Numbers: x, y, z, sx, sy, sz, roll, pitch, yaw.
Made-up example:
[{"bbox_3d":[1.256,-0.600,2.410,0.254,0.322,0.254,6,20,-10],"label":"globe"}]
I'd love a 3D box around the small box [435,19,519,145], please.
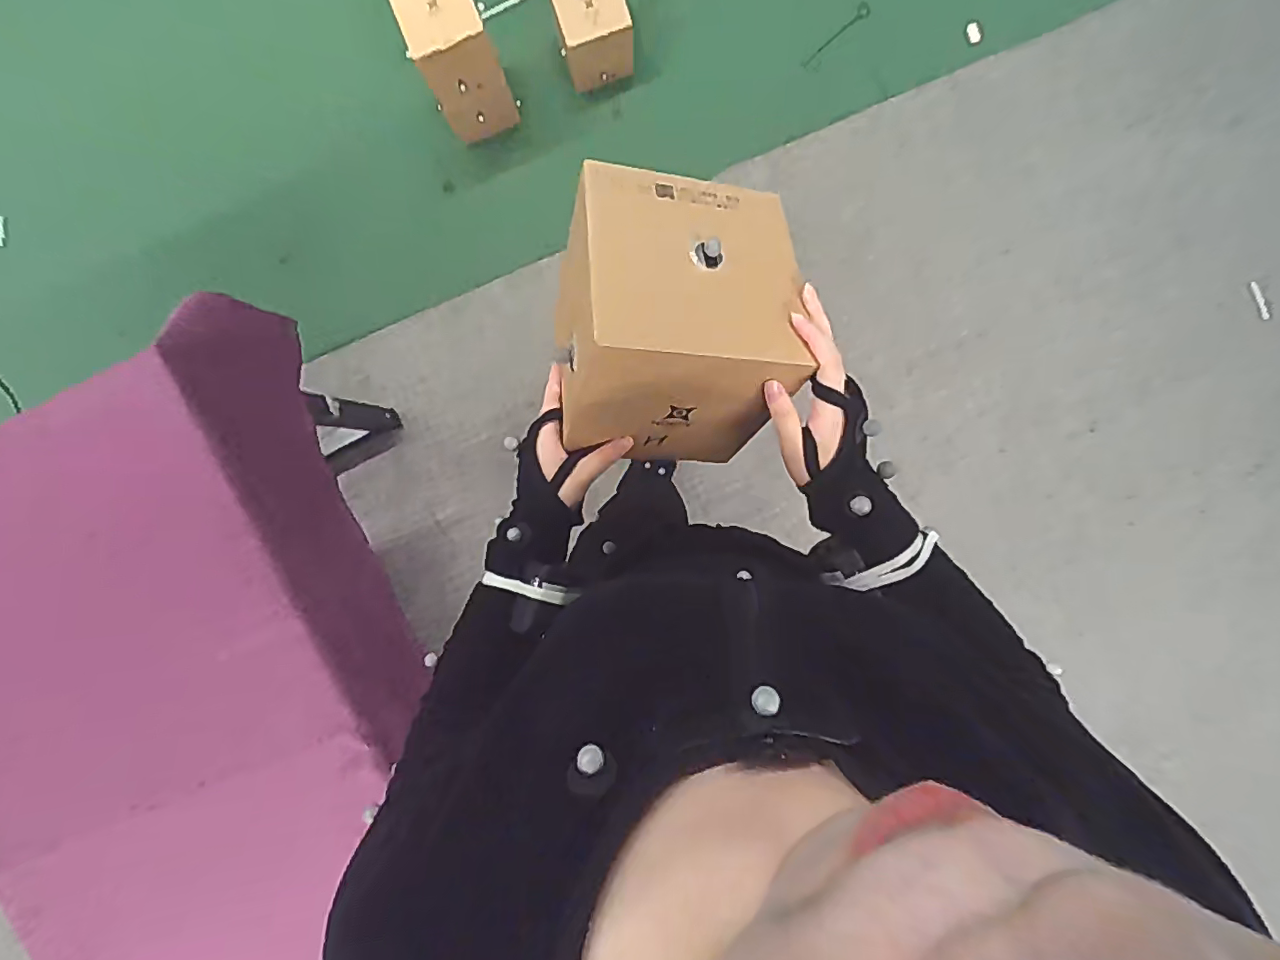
[{"bbox_3d":[-0.424,-1.006,1.379,0.179,0.176,0.168,-22,91,3],"label":"small box"}]

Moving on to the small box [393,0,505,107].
[{"bbox_3d":[-0.427,-0.999,1.217,0.168,0.176,0.179,-22,92,2],"label":"small box"}]
